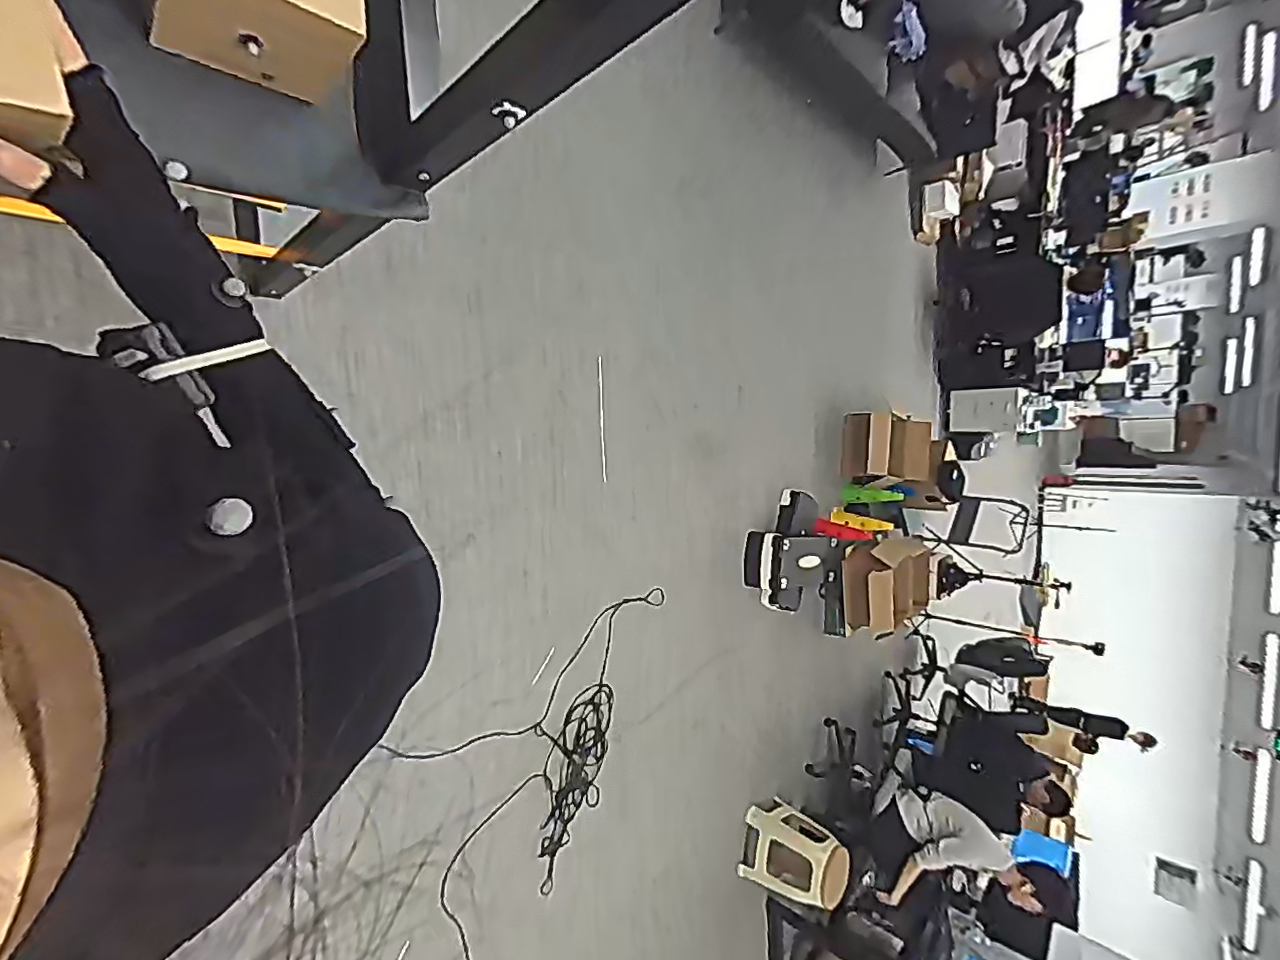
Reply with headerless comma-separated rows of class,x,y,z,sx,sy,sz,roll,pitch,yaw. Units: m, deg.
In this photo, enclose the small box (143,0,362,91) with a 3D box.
small box,-0.415,-0.563,0.572,0.168,0.176,0.179,-8,97,-46
